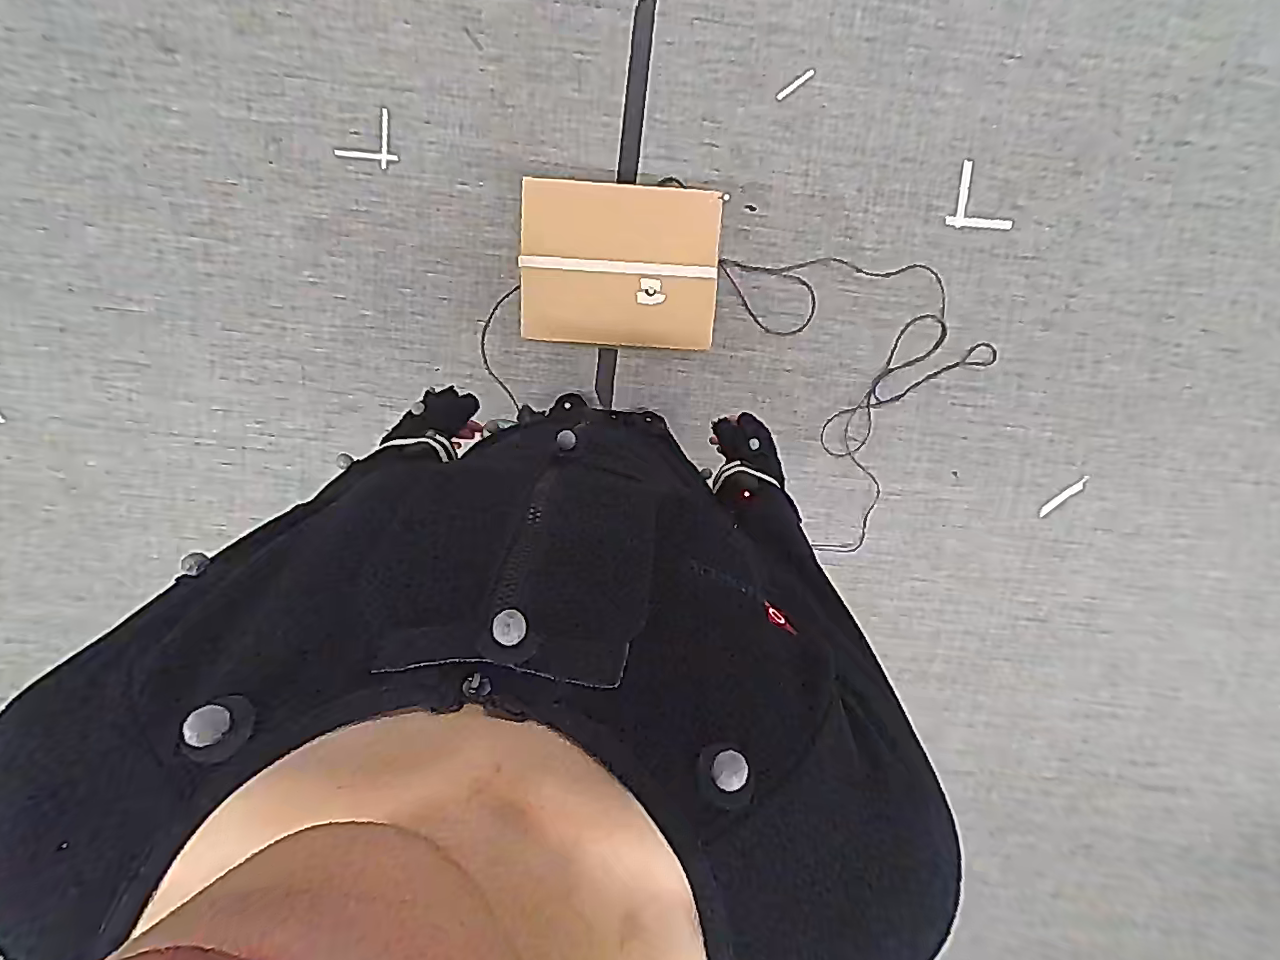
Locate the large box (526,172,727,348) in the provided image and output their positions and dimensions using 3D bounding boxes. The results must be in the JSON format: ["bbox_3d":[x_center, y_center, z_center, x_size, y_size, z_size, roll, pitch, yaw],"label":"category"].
[{"bbox_3d":[-0.039,-0.475,1.241,0.408,0.320,0.320,3,103,-3],"label":"large box"}]
